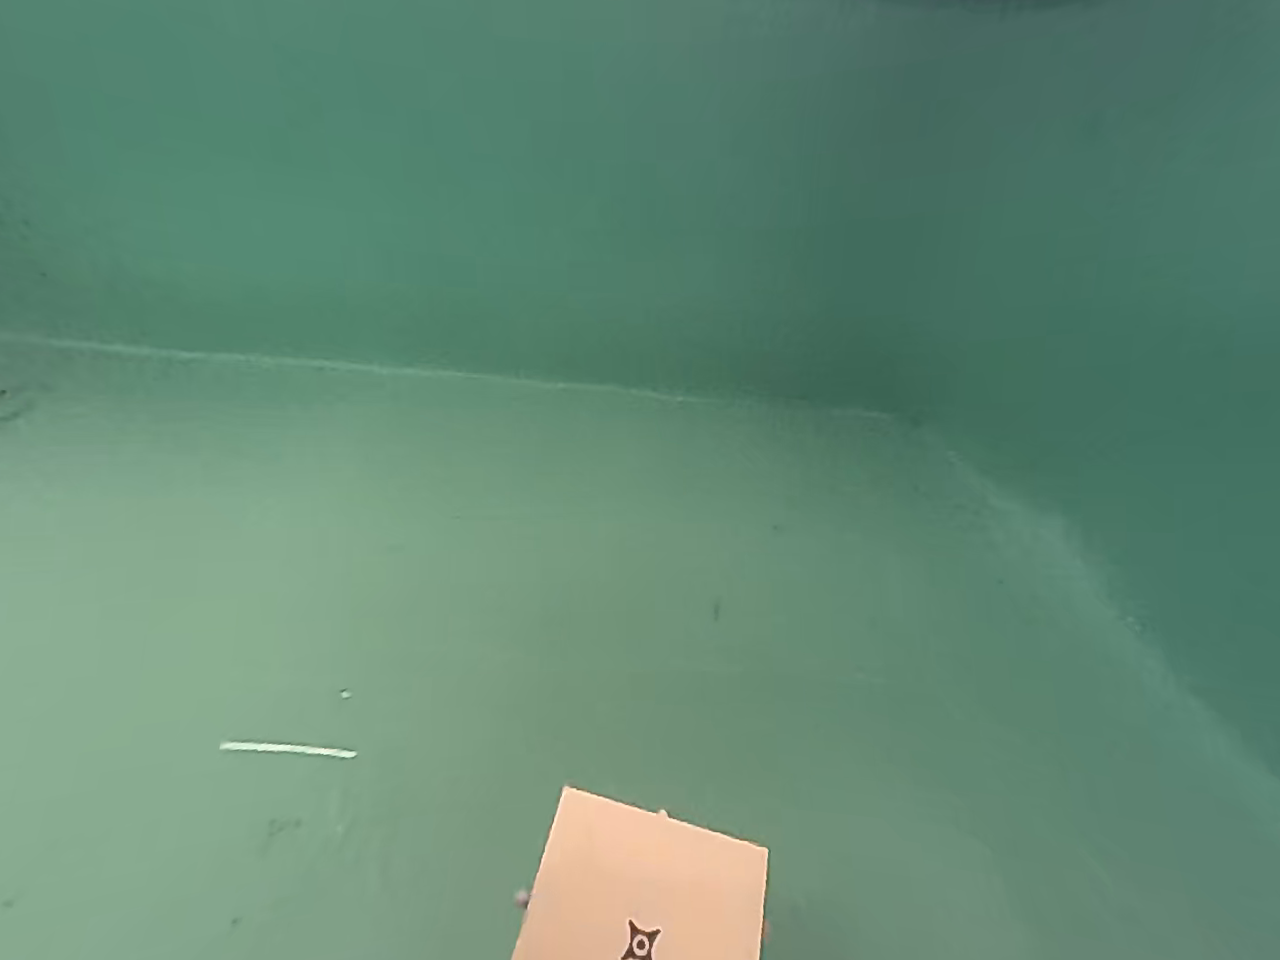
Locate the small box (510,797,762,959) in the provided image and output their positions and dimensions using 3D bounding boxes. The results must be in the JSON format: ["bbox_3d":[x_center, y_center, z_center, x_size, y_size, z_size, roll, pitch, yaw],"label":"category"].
[{"bbox_3d":[-0.013,0.381,0.426,0.168,0.176,0.179,13,52,5],"label":"small box"}]
